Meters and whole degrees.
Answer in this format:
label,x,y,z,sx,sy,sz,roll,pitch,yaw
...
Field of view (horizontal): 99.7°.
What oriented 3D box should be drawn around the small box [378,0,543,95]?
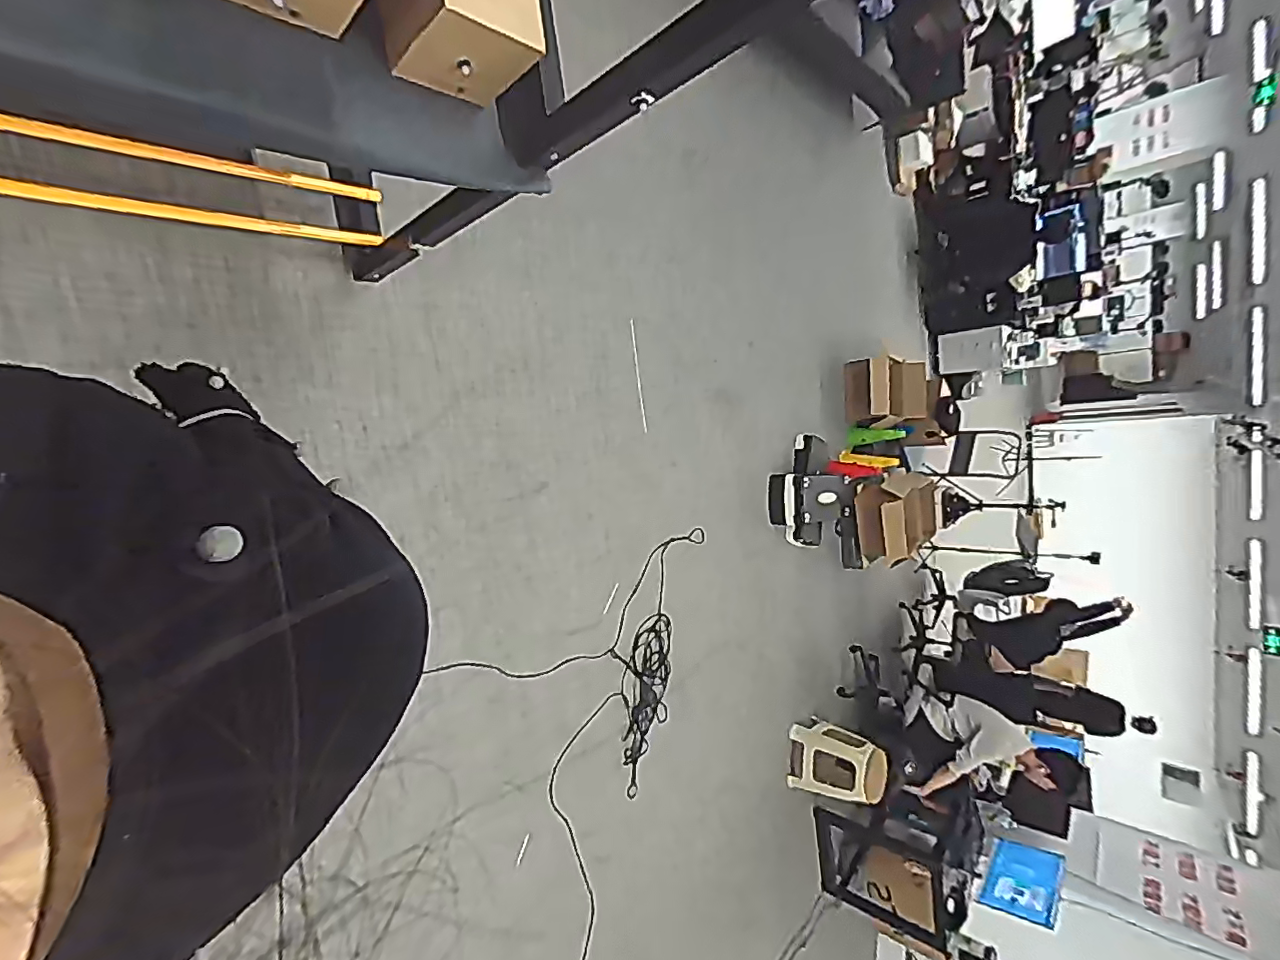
label,x,y,z,sx,sy,sz,roll,pitch,yaw
small box,-0.268,-0.708,0.786,0.168,0.176,0.179,-17,102,-47
